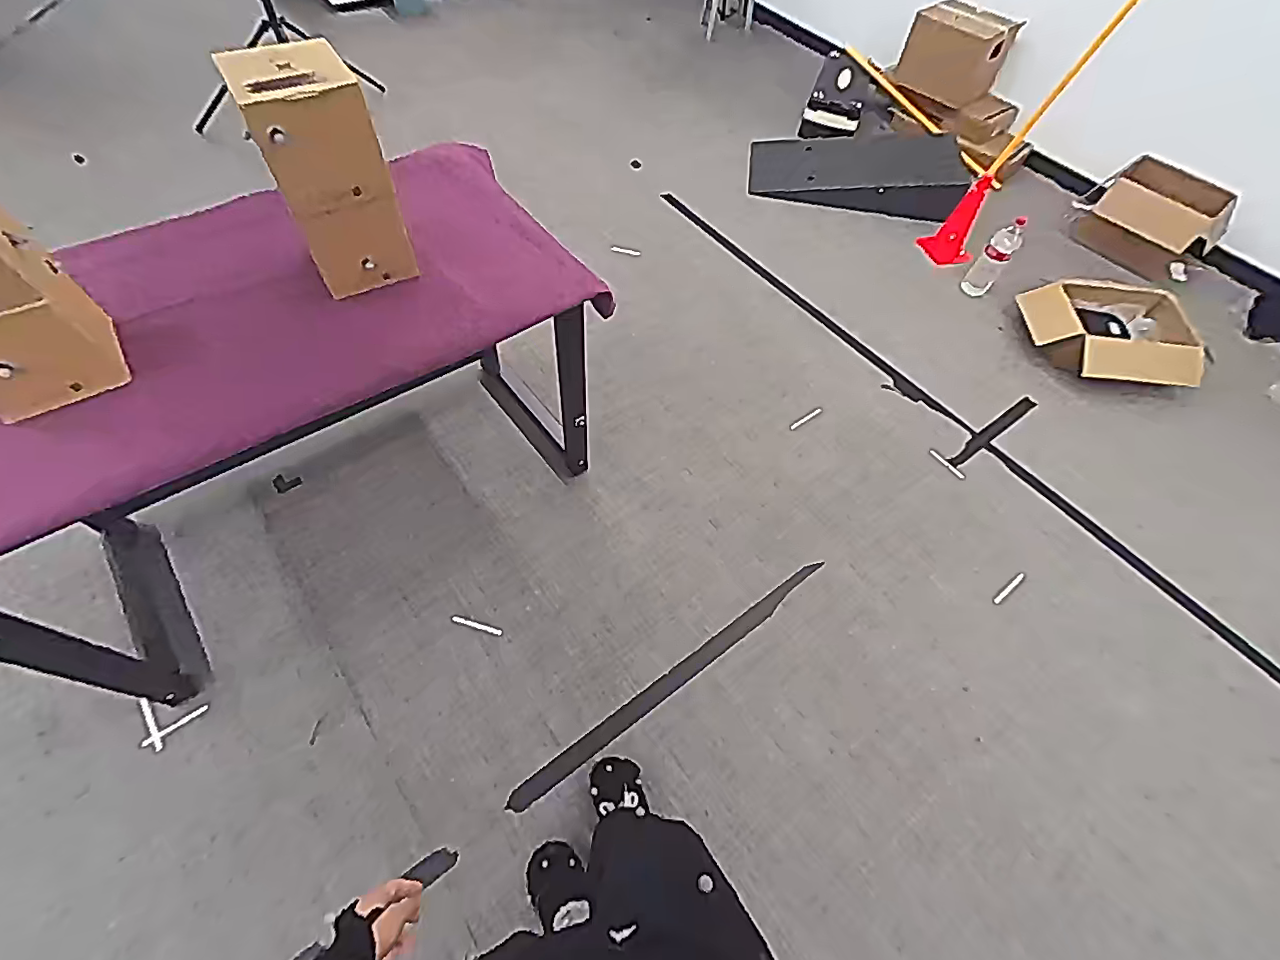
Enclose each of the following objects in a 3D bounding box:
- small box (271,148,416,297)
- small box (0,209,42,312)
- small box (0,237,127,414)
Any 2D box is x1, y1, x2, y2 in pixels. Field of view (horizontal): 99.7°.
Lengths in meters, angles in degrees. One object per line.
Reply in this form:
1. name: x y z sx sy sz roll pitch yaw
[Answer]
1. small box: -0.543 -0.476 1.006 0.168 0.176 0.179 -26 64 -19
2. small box: -0.925 -0.313 0.678 0.168 0.176 0.179 -31 65 -21
3. small box: -0.934 -0.222 0.814 0.168 0.176 0.179 -30 65 -21
